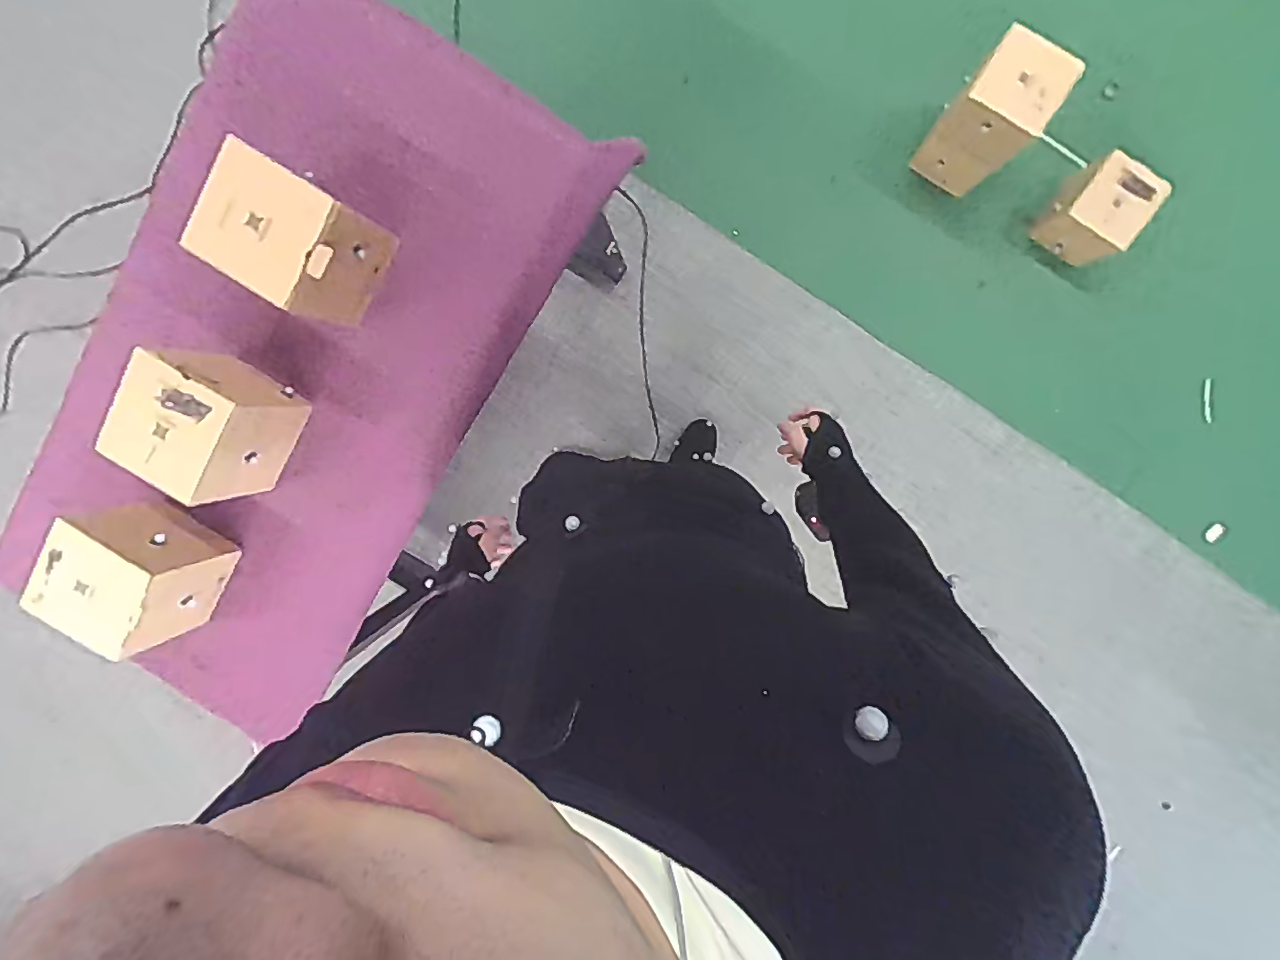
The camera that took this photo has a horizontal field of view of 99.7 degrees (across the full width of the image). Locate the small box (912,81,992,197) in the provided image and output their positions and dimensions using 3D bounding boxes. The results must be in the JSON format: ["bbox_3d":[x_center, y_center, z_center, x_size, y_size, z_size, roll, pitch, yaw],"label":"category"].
[{"bbox_3d":[0.825,-0.862,1.372,0.168,0.176,0.179,32,97,1],"label":"small box"}]

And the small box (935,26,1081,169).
[{"bbox_3d":[0.807,-0.841,1.210,0.179,0.176,0.168,32,98,0],"label":"small box"}]

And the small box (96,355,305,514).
[{"bbox_3d":[-0.675,-0.074,0.853,0.168,0.176,0.179,31,99,1],"label":"small box"}]

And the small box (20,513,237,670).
[{"bbox_3d":[-0.827,0.171,0.894,0.179,0.176,0.168,31,97,0],"label":"small box"}]

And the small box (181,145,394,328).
[{"bbox_3d":[-0.510,-0.345,0.809,0.179,0.176,0.168,32,98,0],"label":"small box"}]
